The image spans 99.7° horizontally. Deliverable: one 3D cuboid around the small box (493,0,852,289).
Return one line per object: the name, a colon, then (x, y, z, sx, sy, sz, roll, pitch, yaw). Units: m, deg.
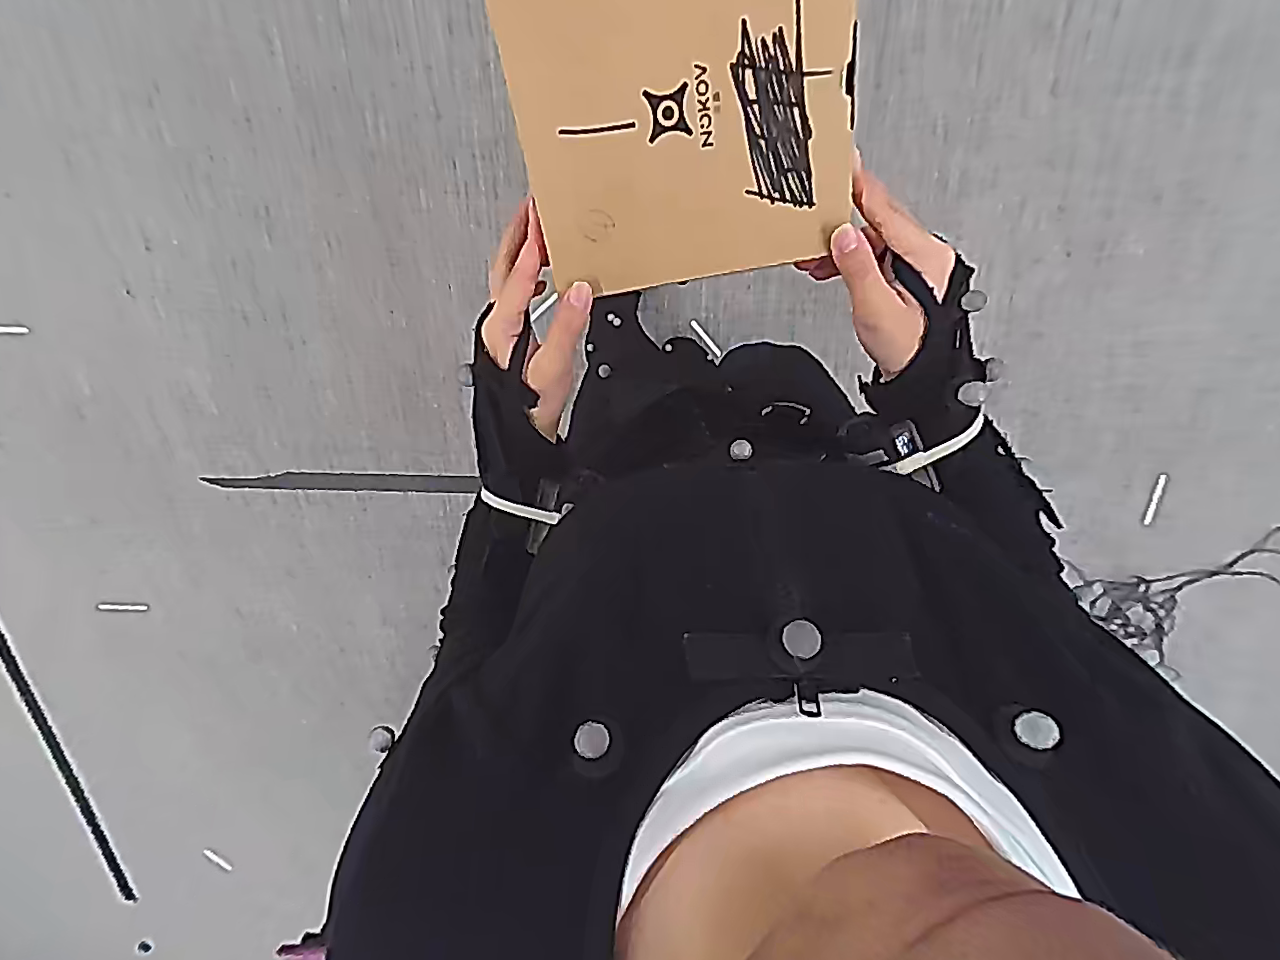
small box: (0.022, -0.238, 0.354, 0.179, 0.176, 0.168, -8, 120, 5)
